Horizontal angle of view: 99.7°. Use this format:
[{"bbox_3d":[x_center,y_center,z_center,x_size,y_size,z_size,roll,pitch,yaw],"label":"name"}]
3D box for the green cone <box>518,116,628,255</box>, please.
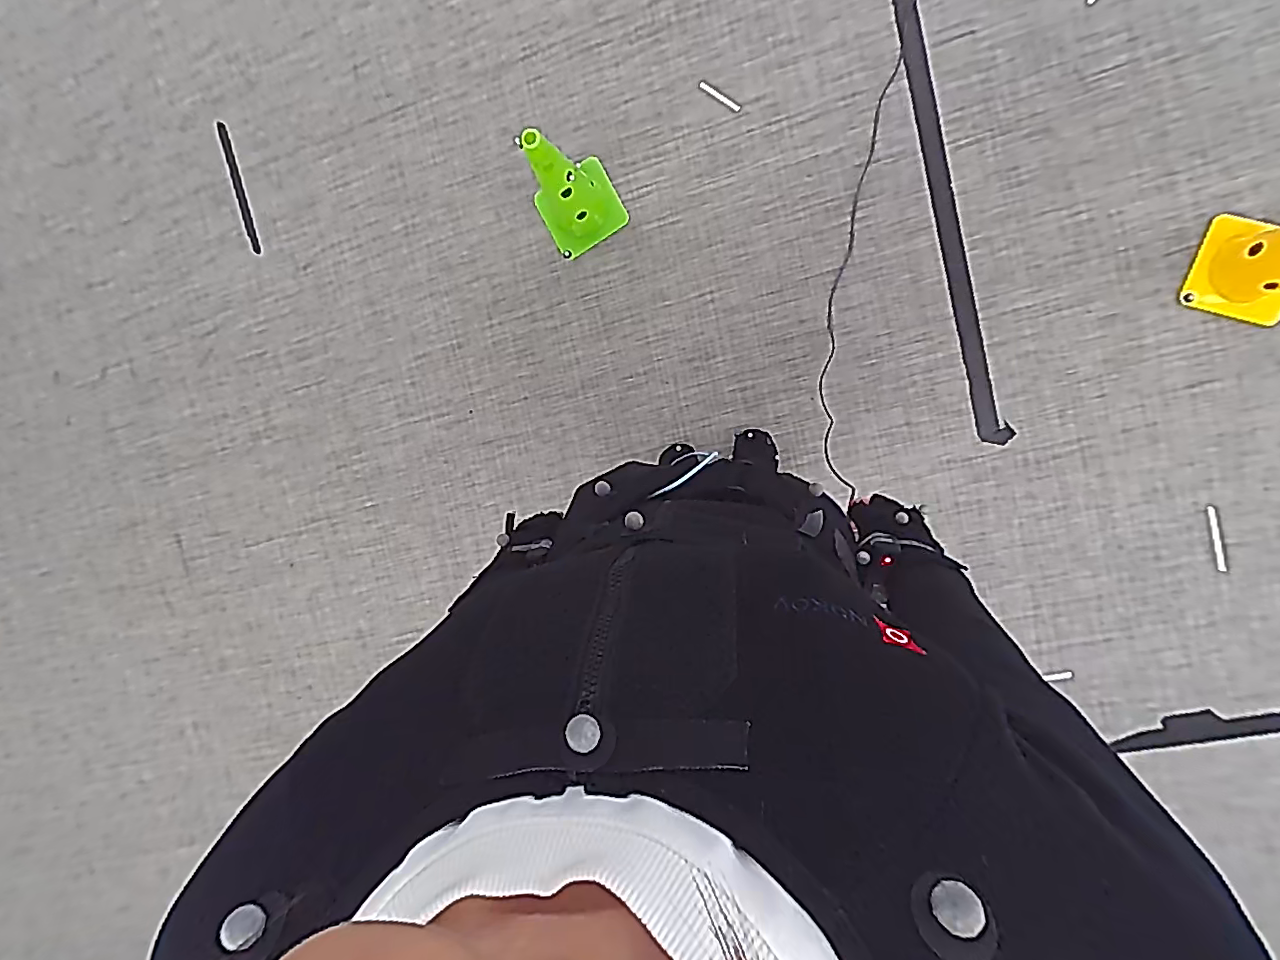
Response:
[{"bbox_3d":[-0.184,-0.704,1.237,0.200,0.368,0.202,-29,88,11],"label":"green cone"}]
